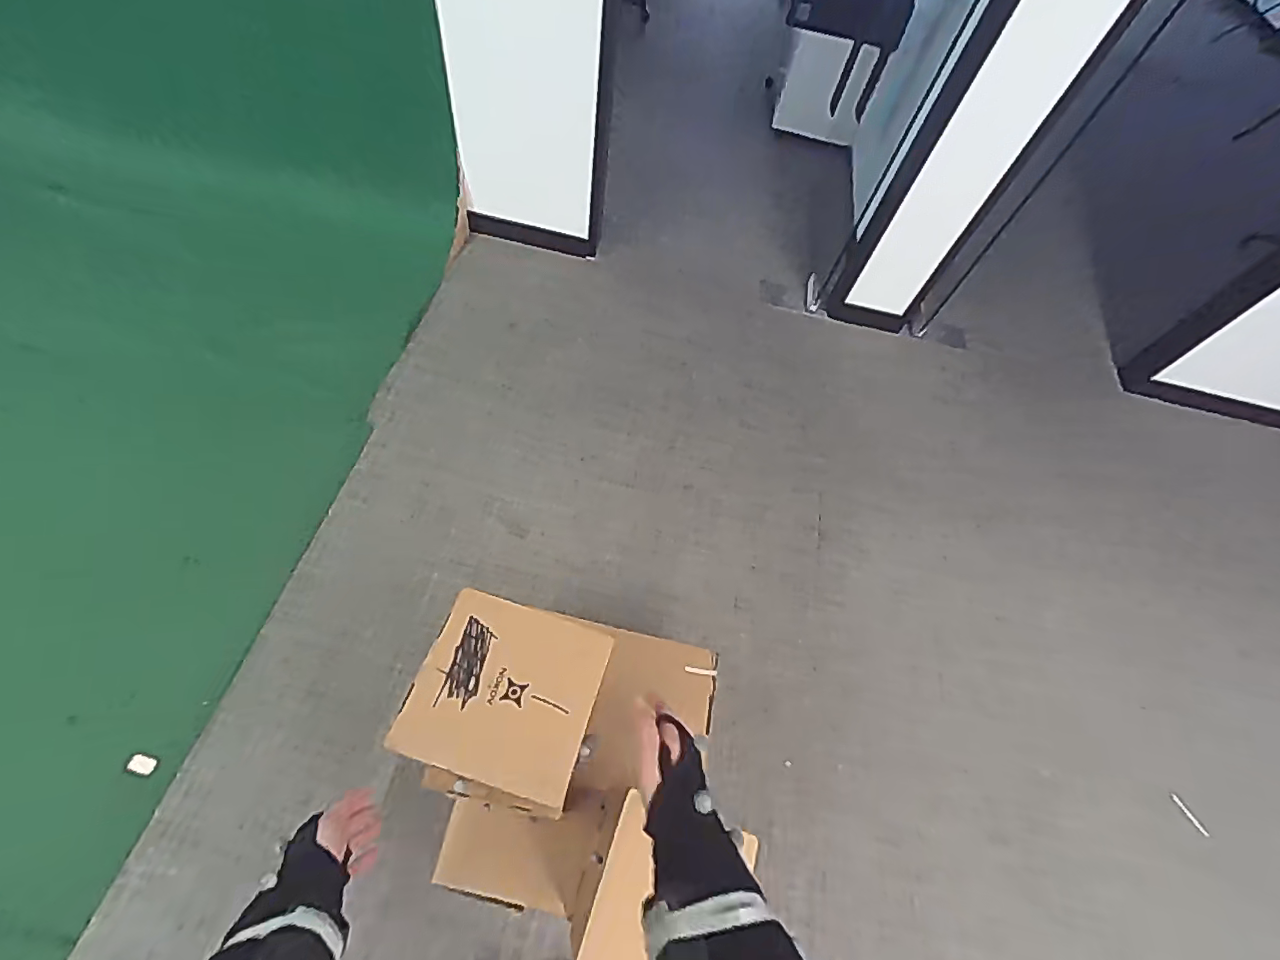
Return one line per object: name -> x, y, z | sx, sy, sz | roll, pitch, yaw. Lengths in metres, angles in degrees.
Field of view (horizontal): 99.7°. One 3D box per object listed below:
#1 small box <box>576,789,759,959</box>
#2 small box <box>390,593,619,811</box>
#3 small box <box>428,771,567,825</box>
small box -> 0.026, 0.506, 0.662 | 0.168, 0.176, 0.179 | 21, 58, 4
small box -> -0.137, 0.253, 0.600 | 0.179, 0.176, 0.168 | 19, 57, 2
small box -> -0.162, 0.347, 0.733 | 0.168, 0.176, 0.179 | 14, 58, 0
